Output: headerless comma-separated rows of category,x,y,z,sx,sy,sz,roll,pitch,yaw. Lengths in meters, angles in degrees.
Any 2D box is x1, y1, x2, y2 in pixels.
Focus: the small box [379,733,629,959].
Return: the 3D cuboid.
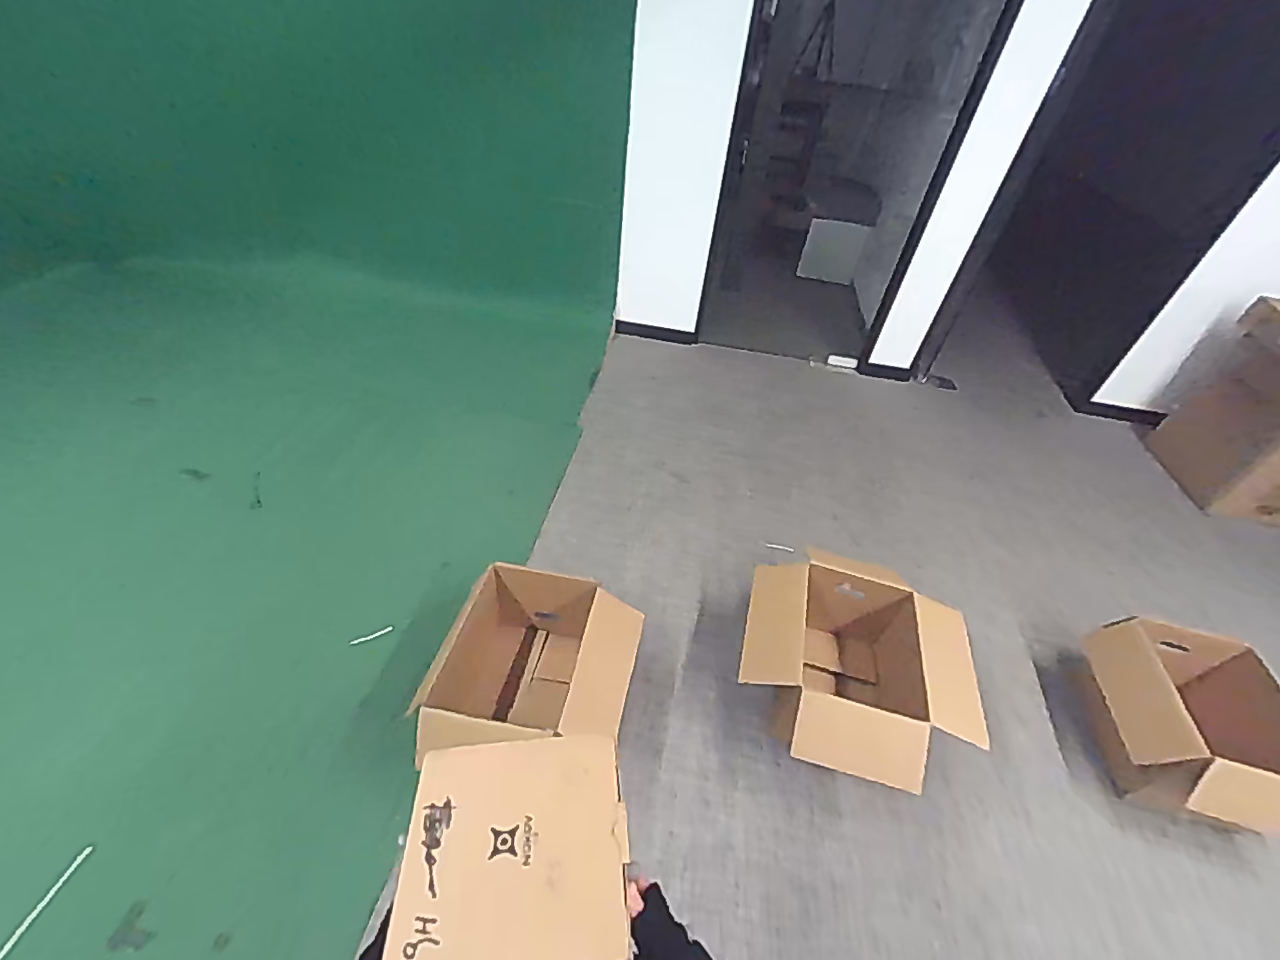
small box,-0.106,0.353,0.490,0.179,0.176,0.168,-1,37,-5
